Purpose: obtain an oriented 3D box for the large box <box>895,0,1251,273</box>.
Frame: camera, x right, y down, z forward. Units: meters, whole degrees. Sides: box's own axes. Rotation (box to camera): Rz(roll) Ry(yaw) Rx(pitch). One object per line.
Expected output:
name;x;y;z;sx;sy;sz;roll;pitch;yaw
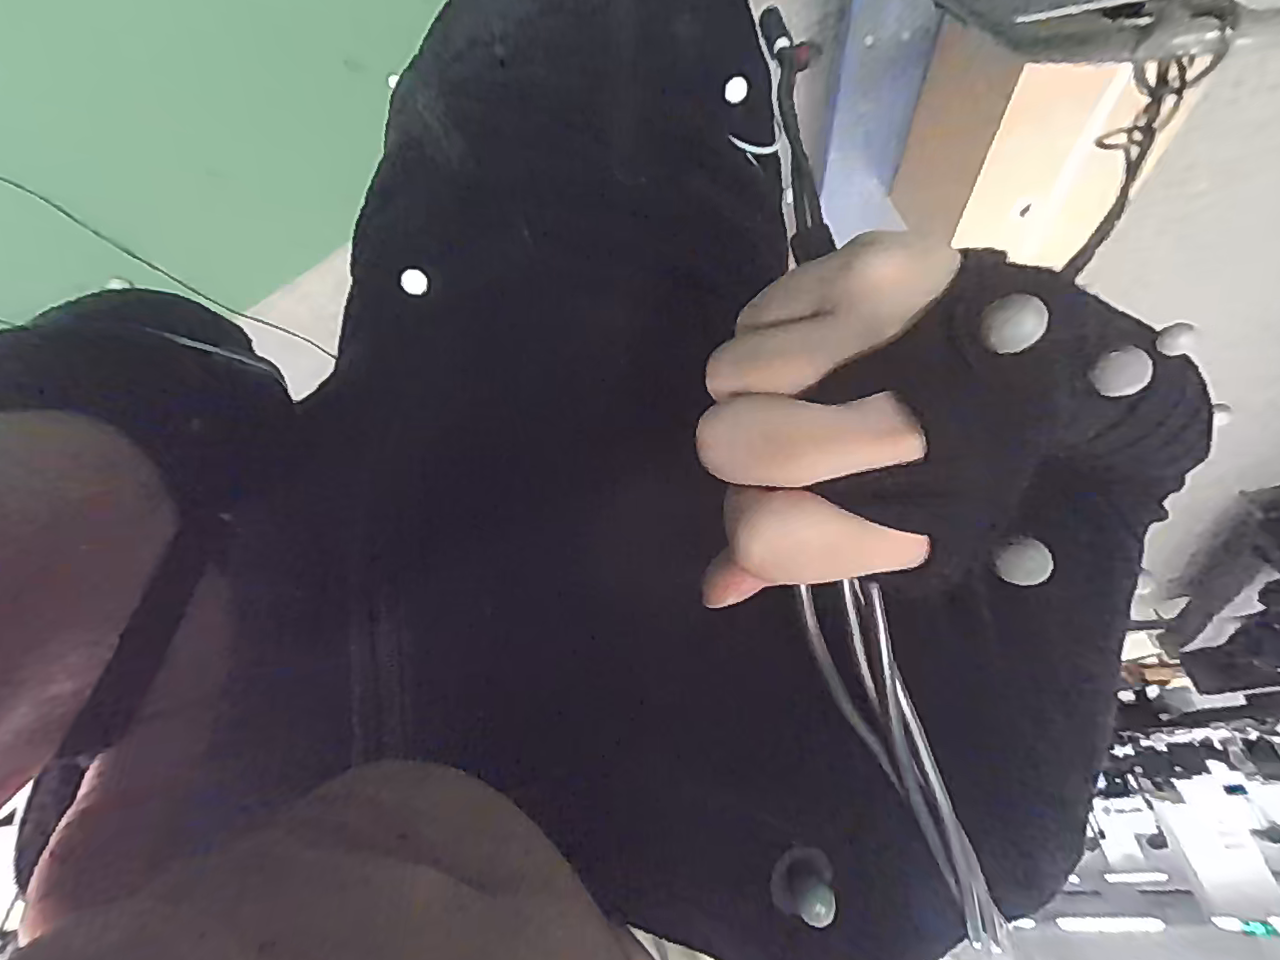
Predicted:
large box;0.738;-0.675;1.022;0.320;0.320;0.408;-5;147;3
